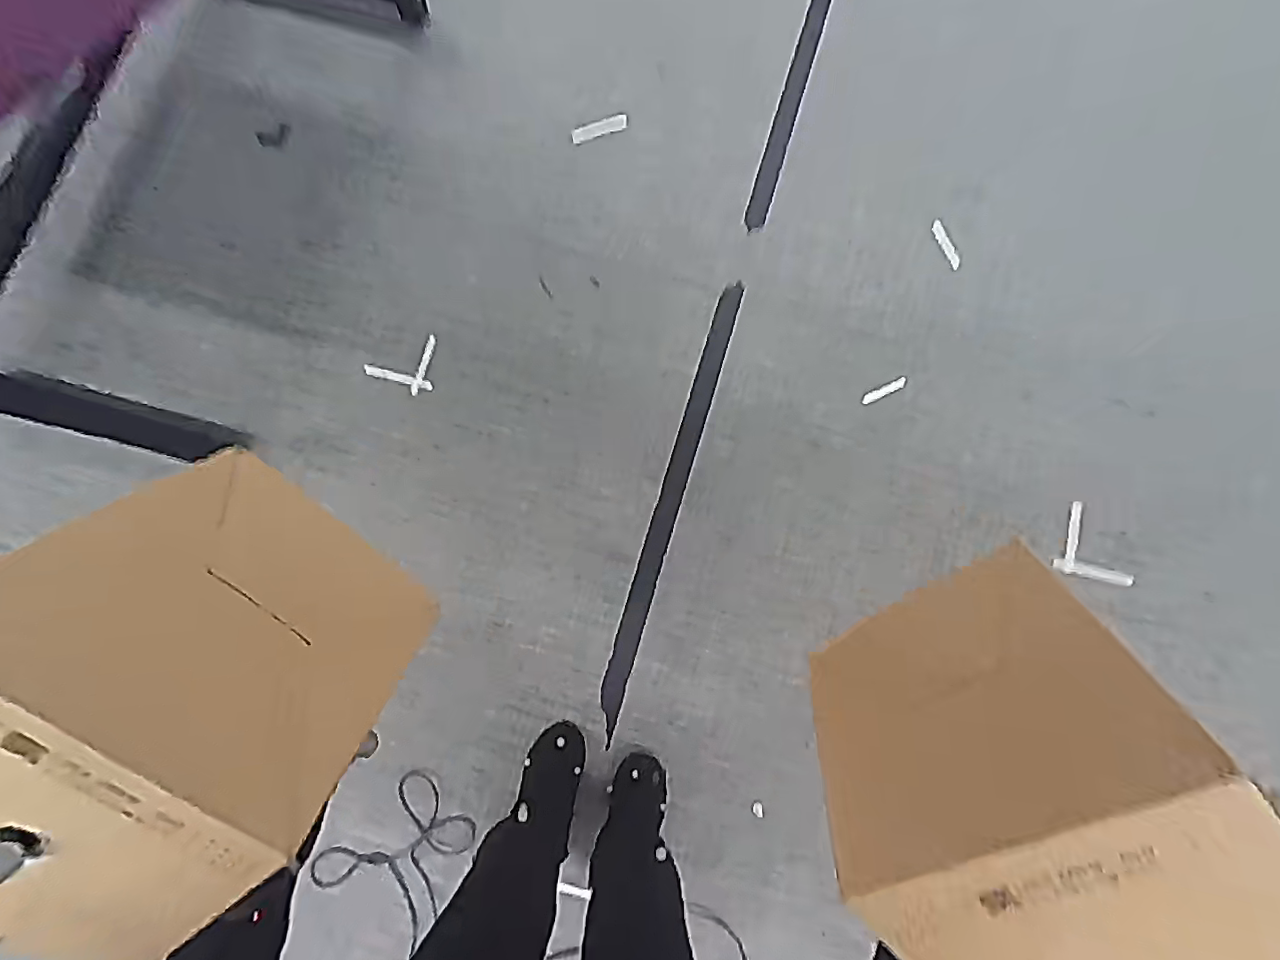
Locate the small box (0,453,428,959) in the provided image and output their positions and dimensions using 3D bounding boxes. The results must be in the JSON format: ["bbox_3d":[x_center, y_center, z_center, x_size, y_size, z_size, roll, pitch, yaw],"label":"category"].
[{"bbox_3d":[-0.252,0.112,0.286,0.176,0.179,0.168,-41,105,16],"label":"small box"}]

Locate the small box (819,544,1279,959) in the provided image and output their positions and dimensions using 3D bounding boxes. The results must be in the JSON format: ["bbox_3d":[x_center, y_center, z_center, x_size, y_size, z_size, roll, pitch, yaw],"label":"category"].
[{"bbox_3d":[0.219,0.169,0.293,0.168,0.179,0.176,-36,103,22],"label":"small box"}]
